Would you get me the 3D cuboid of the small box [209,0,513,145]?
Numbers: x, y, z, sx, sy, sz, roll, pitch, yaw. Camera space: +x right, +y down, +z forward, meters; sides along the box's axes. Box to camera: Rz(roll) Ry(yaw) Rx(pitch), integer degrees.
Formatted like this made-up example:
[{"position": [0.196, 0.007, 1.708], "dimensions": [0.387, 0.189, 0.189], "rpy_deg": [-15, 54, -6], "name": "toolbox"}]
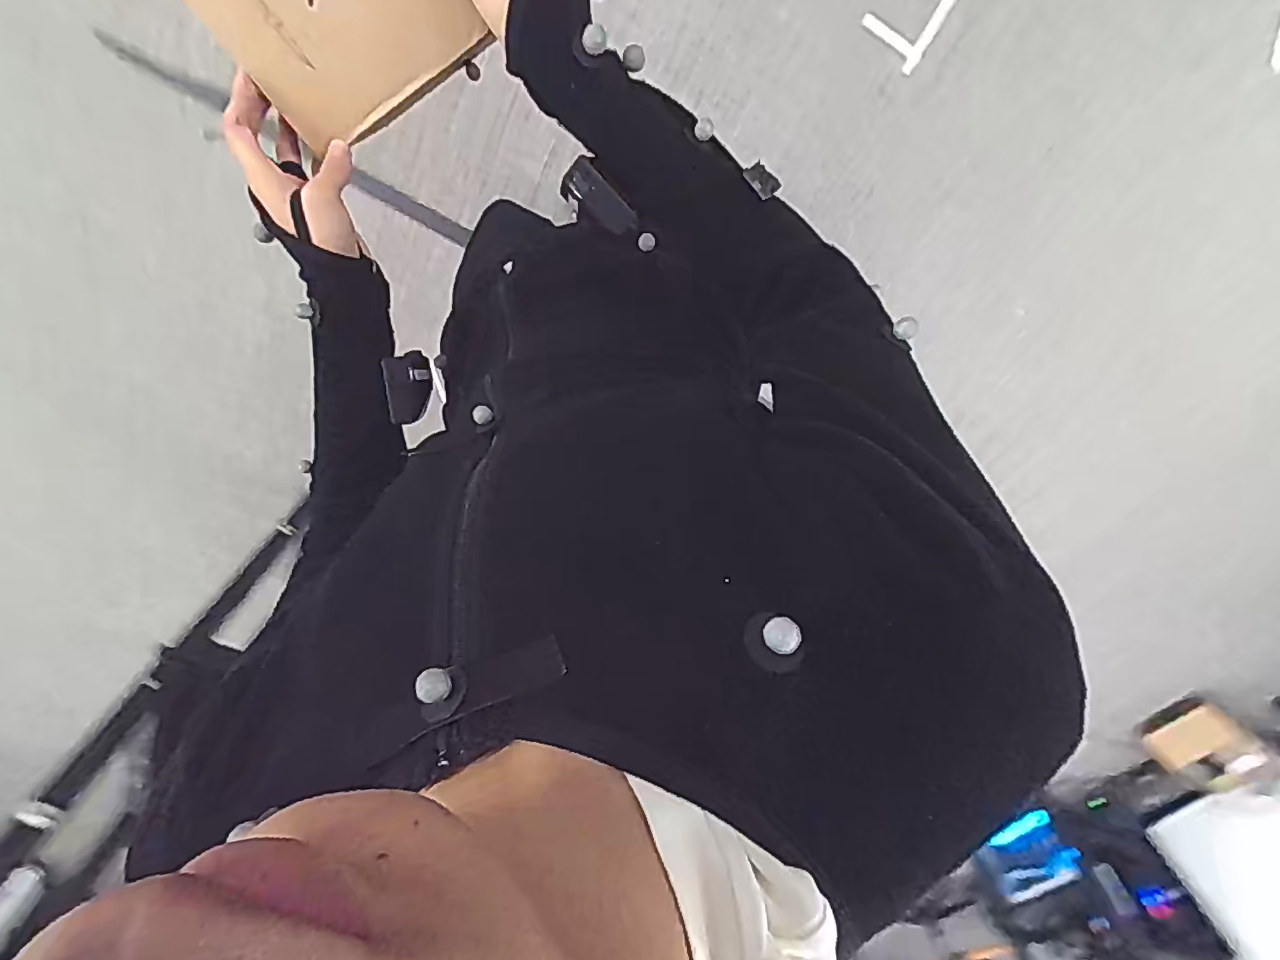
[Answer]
[{"position": [-0.214, -0.402, 0.415], "dimensions": [0.179, 0.176, 0.168], "rpy_deg": [-23, 129, 16], "name": "small box"}]
